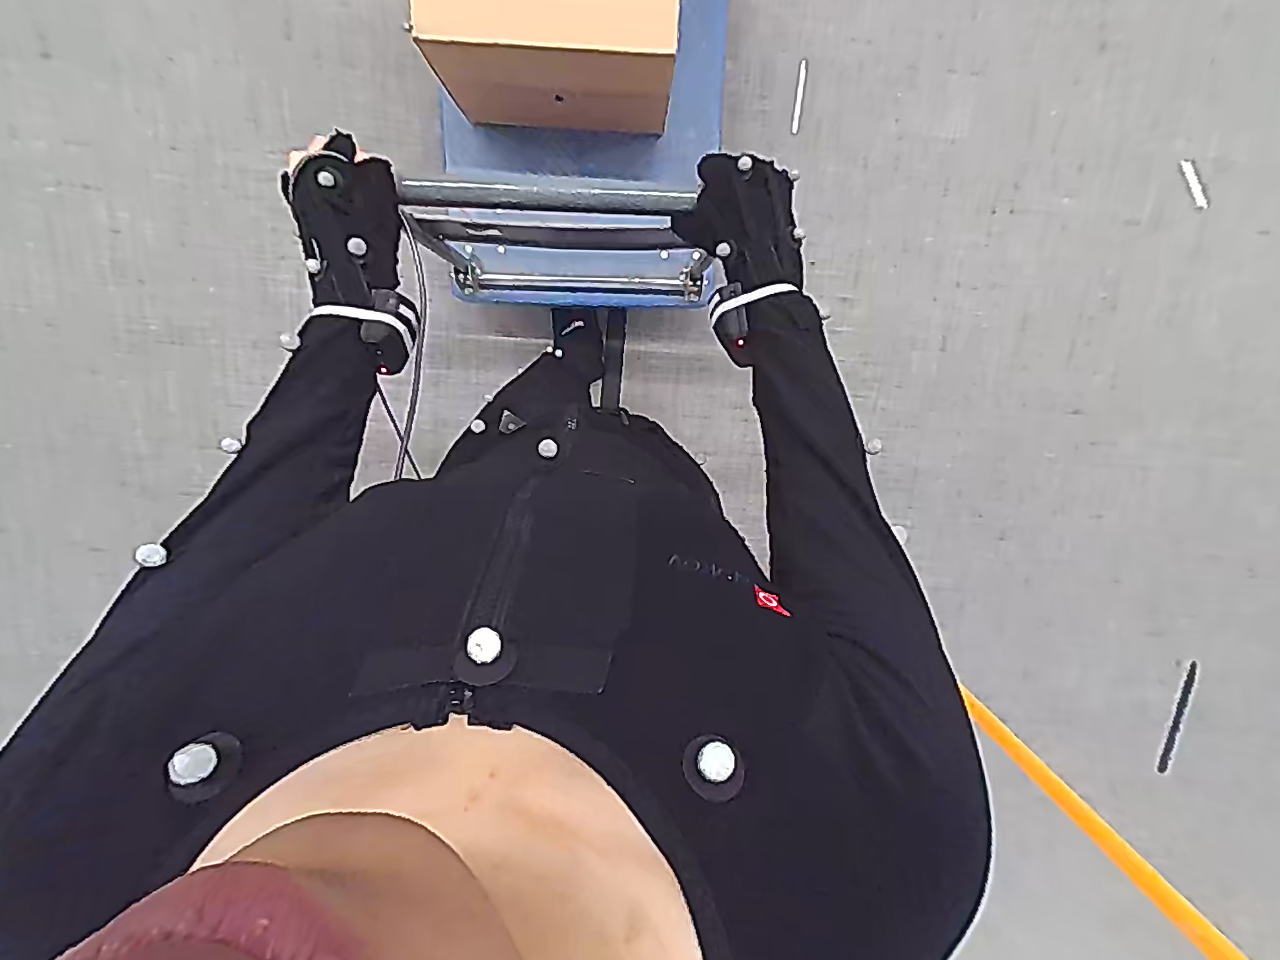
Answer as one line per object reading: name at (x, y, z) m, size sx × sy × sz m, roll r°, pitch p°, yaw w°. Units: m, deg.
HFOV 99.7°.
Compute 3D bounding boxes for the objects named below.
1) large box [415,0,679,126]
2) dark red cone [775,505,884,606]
large box at (-0.139, -0.847, 0.938) m, size 0.408 × 0.320 × 0.320 m, roll 2°, pitch 103°, yaw -1°
dark red cone at (0.484, 0.207, 1.327) m, size 0.201 × 0.394 × 0.202 m, roll 4°, pitch 103°, yaw -4°
